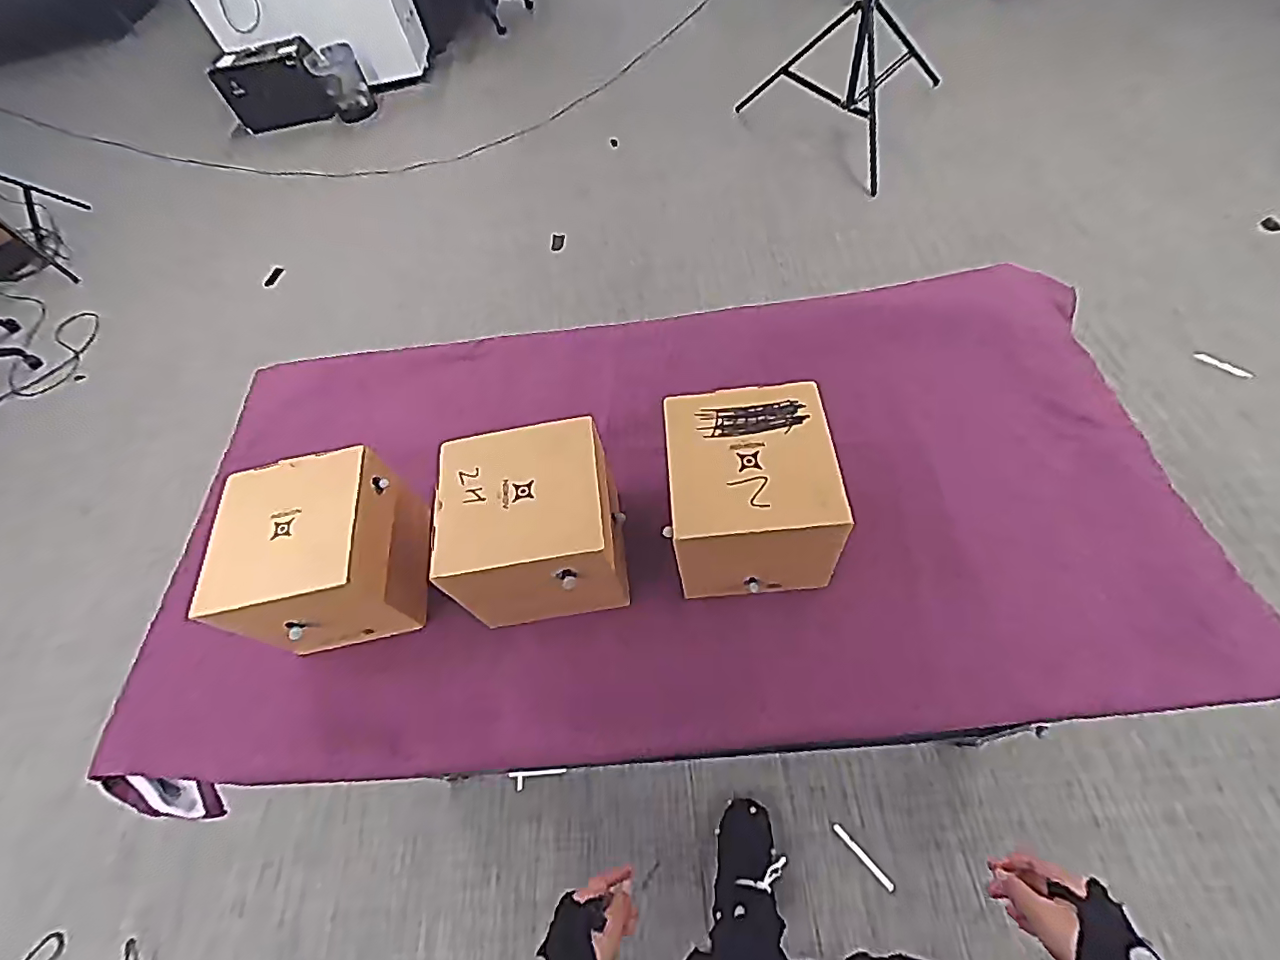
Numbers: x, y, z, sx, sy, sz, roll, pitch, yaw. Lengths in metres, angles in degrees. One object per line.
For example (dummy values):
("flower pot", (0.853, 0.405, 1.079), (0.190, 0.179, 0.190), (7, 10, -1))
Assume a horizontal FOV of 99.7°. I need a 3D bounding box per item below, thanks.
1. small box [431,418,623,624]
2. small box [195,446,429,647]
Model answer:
("small box", (-0.117, 0.054, 0.627), (0.179, 0.176, 0.168), (-10, 57, 2))
("small box", (-0.370, 0.090, 0.650), (0.168, 0.176, 0.179), (-13, 57, 1))
